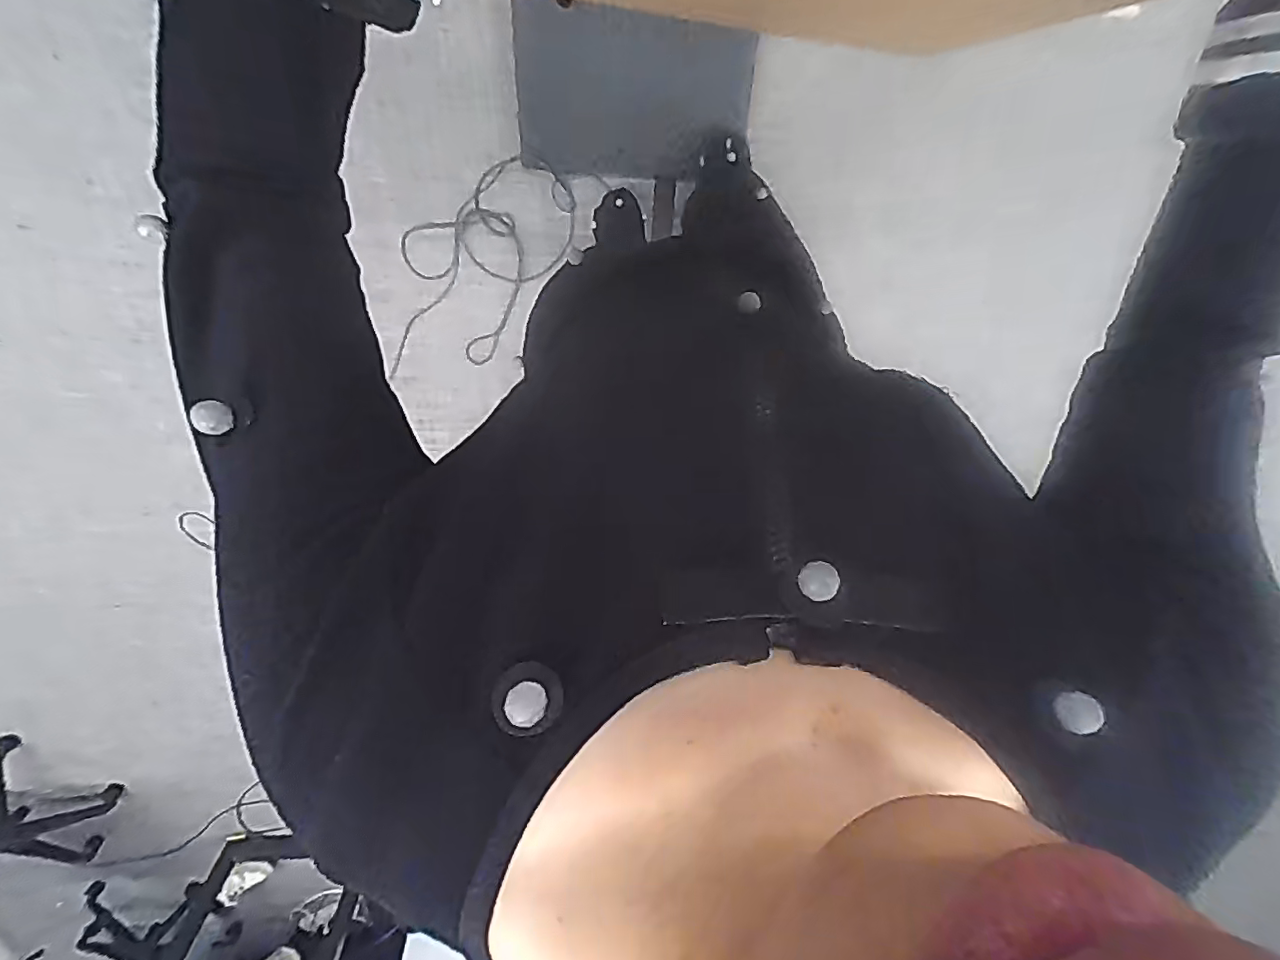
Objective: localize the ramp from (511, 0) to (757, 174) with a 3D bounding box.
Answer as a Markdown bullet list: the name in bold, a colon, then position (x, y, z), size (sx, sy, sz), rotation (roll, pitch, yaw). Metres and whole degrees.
- **ramp**: position (0.008, -1.095, 0.923), size (0.509, 0.206, 0.991), rotation (-3, 118, -6)
